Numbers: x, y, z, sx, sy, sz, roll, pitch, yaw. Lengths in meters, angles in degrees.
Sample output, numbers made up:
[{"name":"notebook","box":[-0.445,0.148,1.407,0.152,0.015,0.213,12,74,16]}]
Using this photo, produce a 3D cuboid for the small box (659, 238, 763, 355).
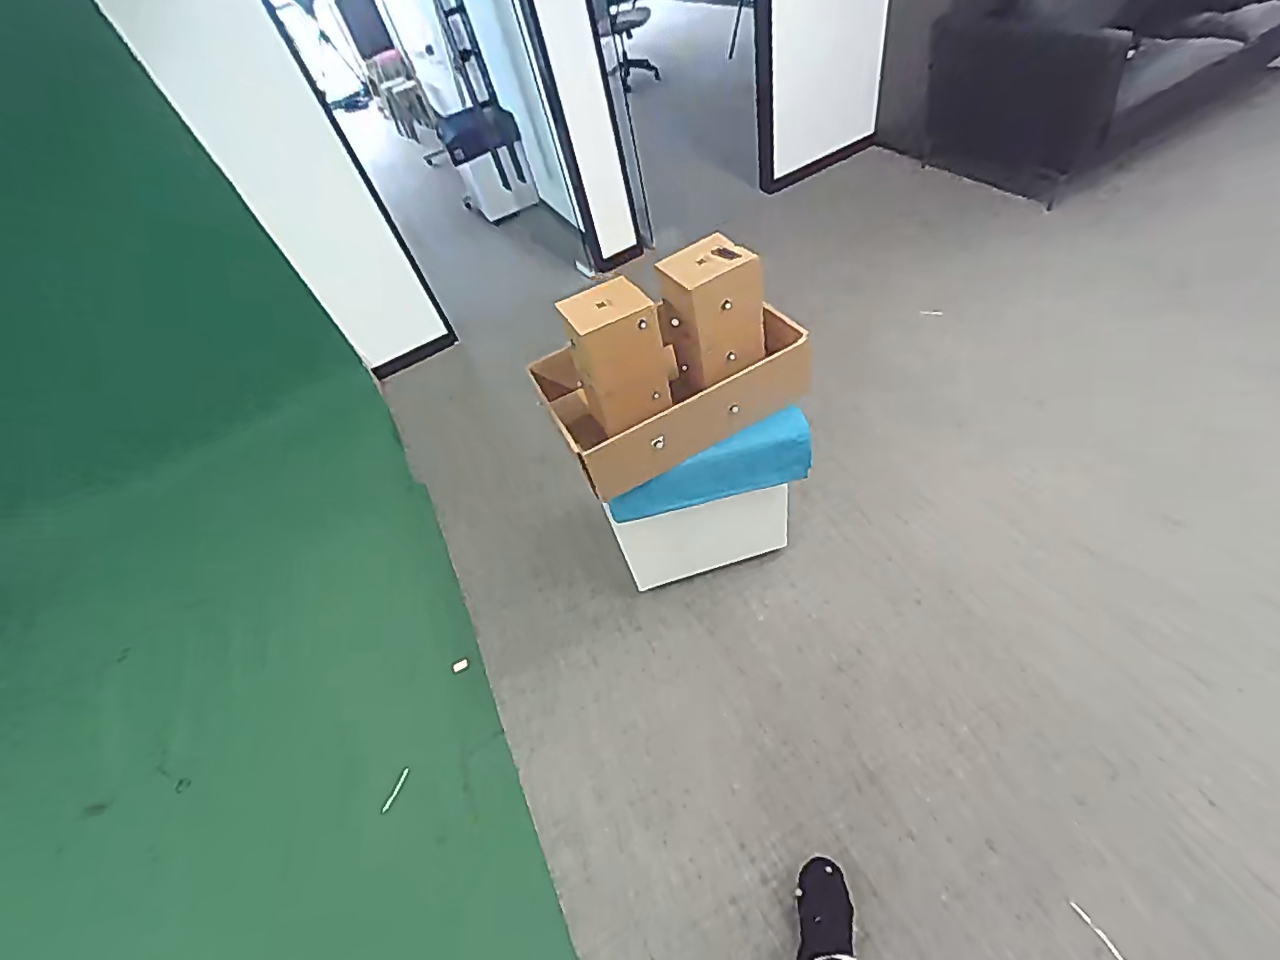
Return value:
[{"name":"small box","box":[0.169,-0.422,1.250,0.179,0.176,0.168,-29,47,-8]}]

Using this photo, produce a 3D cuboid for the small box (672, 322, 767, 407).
[{"name":"small box","box":[0.207,-0.315,1.368,0.179,0.176,0.168,-28,47,-7]}]
